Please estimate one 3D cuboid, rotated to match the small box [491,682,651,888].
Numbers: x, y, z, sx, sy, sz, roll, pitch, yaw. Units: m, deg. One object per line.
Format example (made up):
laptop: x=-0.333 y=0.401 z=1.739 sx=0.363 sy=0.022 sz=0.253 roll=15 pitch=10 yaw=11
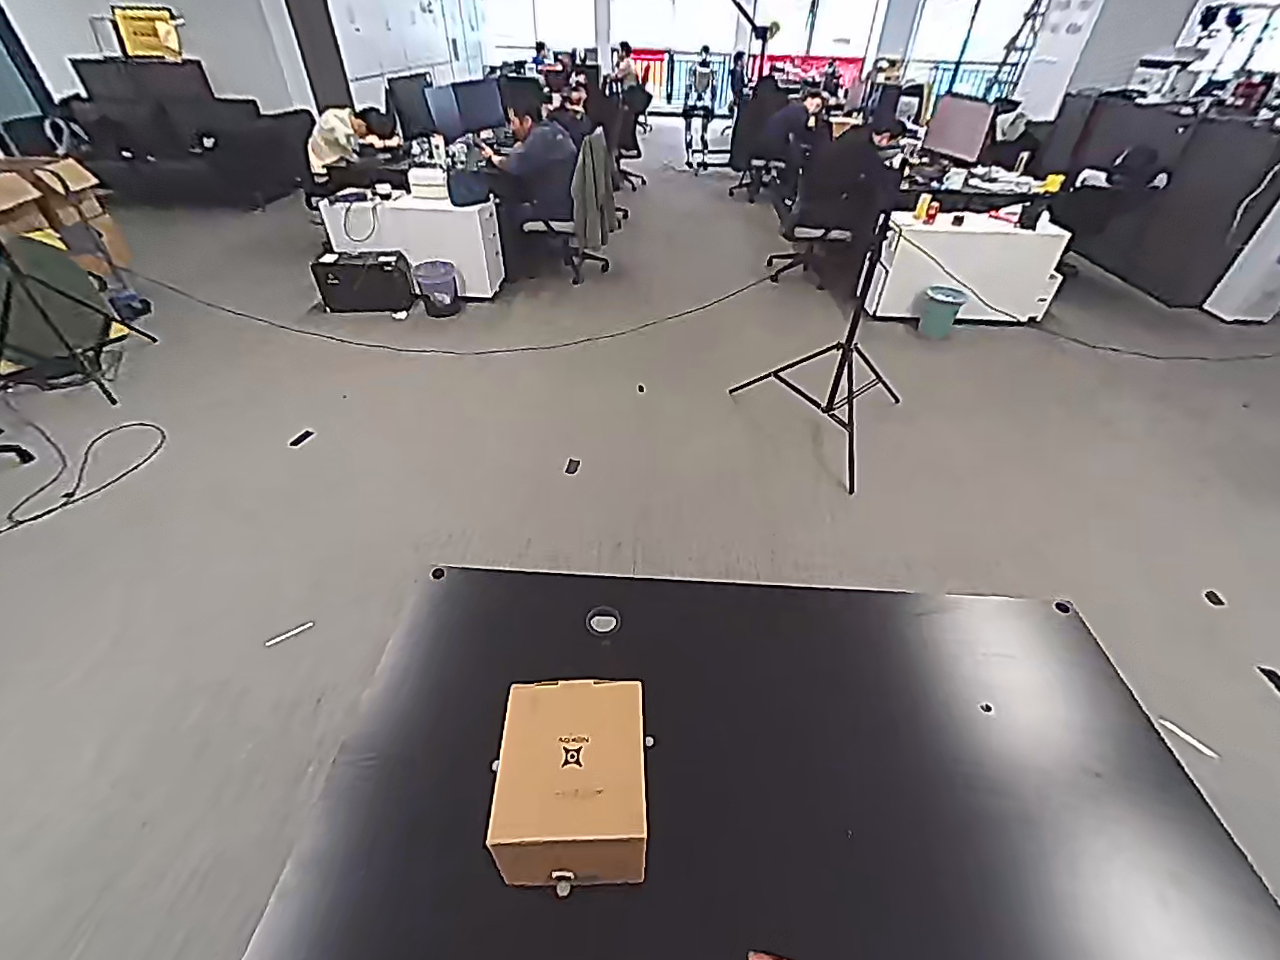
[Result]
small box: x=-0.076 y=0.373 z=0.667 sx=0.168 sy=0.176 sz=0.179 roll=-2 pitch=41 yaw=-2
